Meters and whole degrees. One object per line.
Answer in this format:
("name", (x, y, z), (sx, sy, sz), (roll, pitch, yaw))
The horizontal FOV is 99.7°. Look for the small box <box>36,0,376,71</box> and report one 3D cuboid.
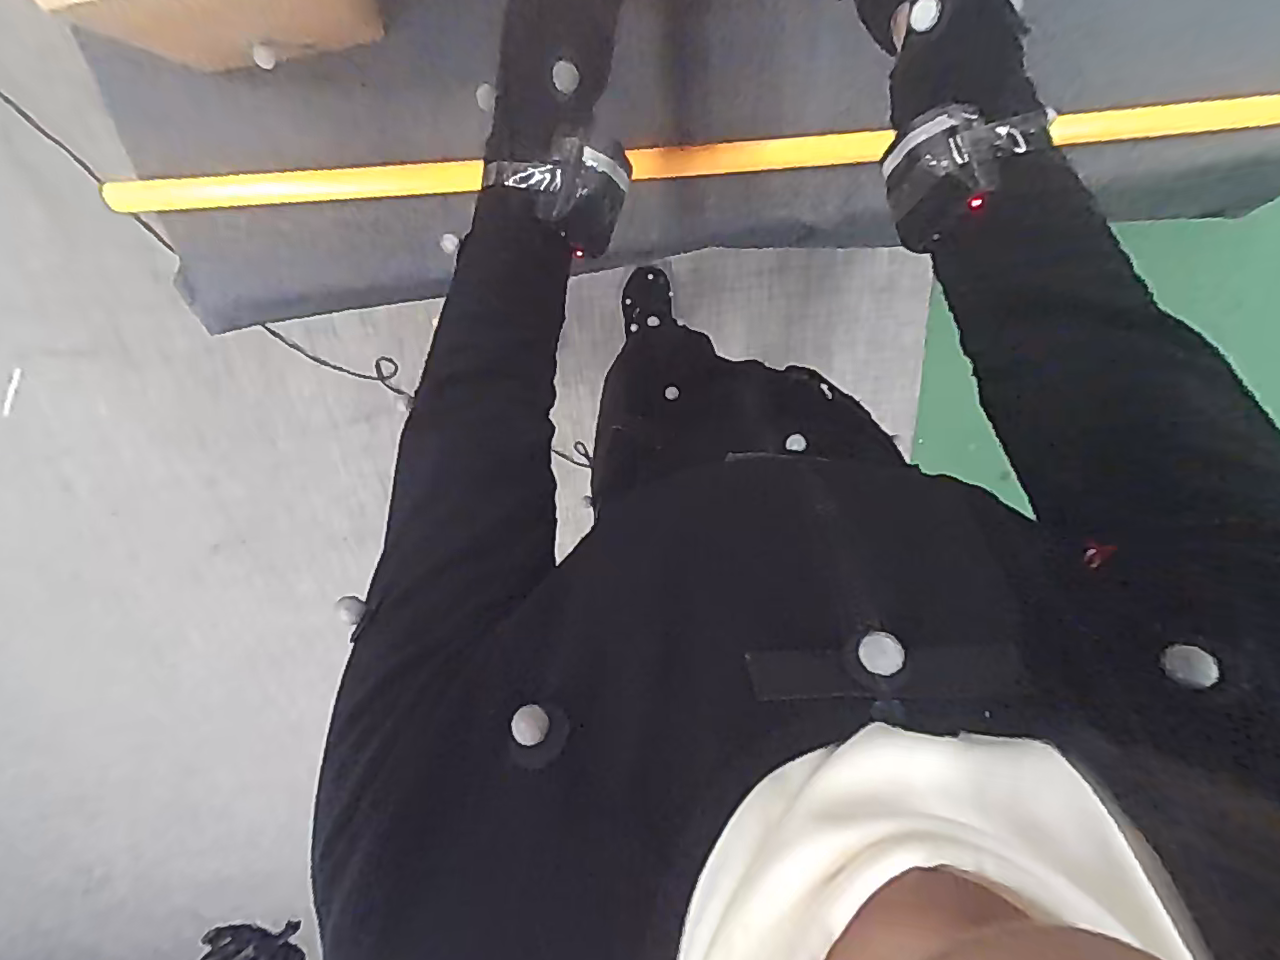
("small box", (-0.316, -0.418, 0.371), (0.168, 0.176, 0.179), (-10, 116, 0))
